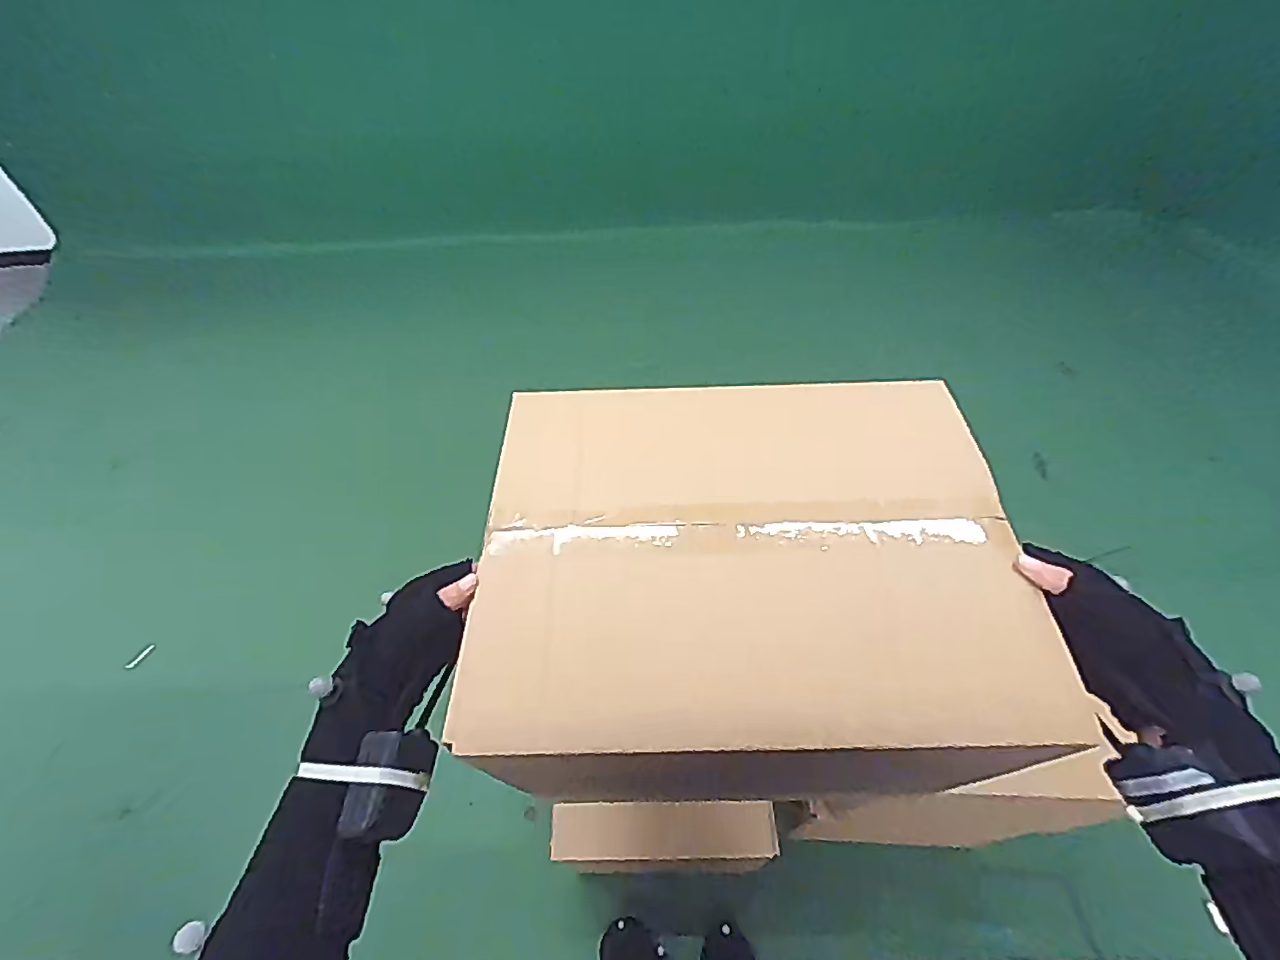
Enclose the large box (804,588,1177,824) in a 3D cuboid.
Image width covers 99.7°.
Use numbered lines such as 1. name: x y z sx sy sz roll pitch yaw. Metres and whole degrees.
1. large box: 0.541 0.401 0.948 0.408 0.320 0.320 1 52 2
